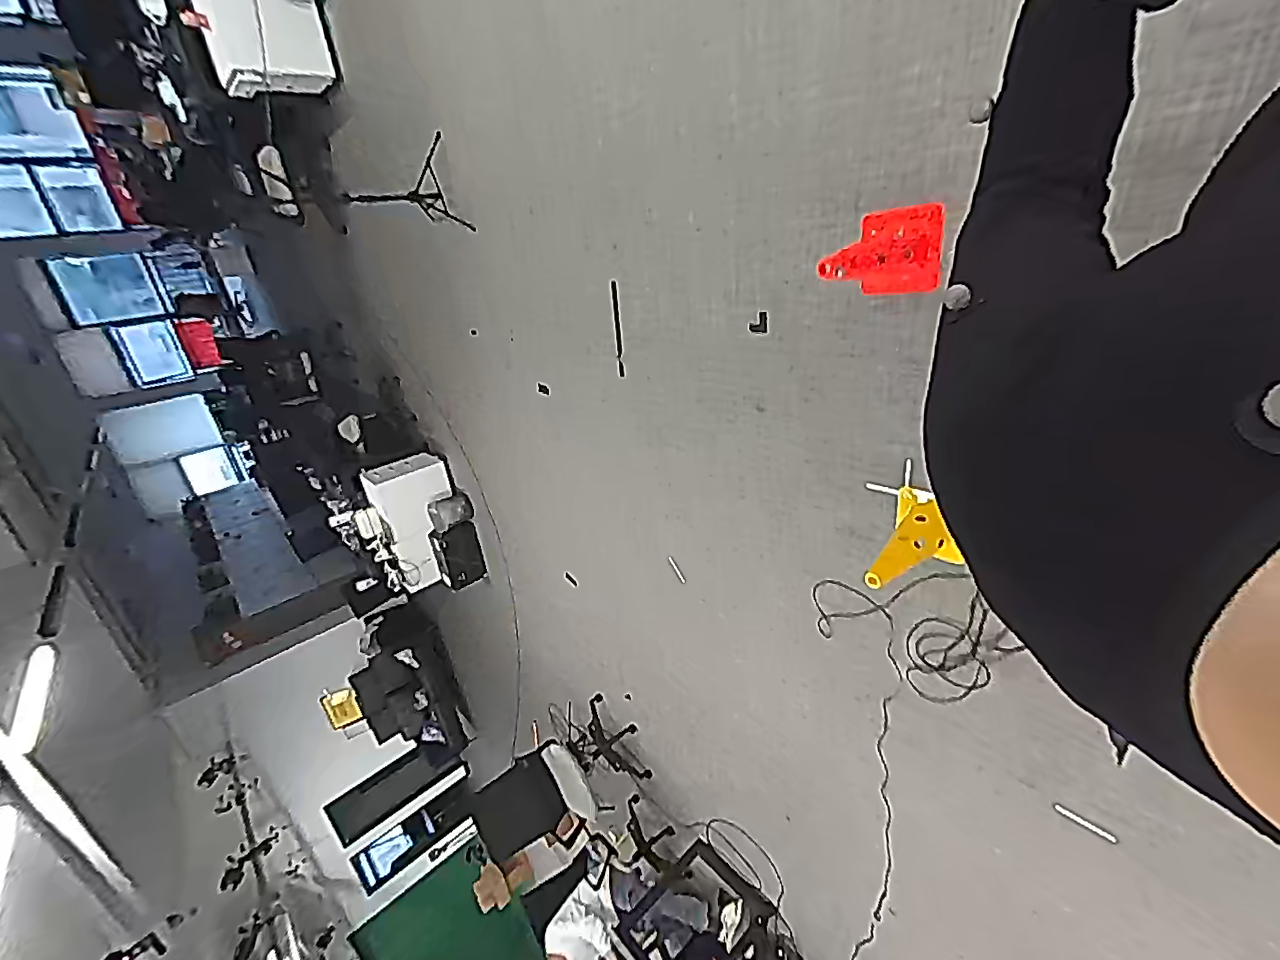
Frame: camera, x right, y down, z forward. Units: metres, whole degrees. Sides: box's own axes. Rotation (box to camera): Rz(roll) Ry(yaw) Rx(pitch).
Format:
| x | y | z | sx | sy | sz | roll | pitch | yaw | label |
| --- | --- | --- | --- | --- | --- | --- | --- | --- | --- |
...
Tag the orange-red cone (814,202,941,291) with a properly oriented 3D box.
| x | y | z | sx | sy | sz | roll | pitch | yaw | label |
| --- | --- | --- | --- | --- | --- | --- | --- | --- | --- |
| 0.520 | -0.515 | 1.257 | 0.198 | 0.360 | 0.199 | 18 | 126 | 46 | orange-red cone |
